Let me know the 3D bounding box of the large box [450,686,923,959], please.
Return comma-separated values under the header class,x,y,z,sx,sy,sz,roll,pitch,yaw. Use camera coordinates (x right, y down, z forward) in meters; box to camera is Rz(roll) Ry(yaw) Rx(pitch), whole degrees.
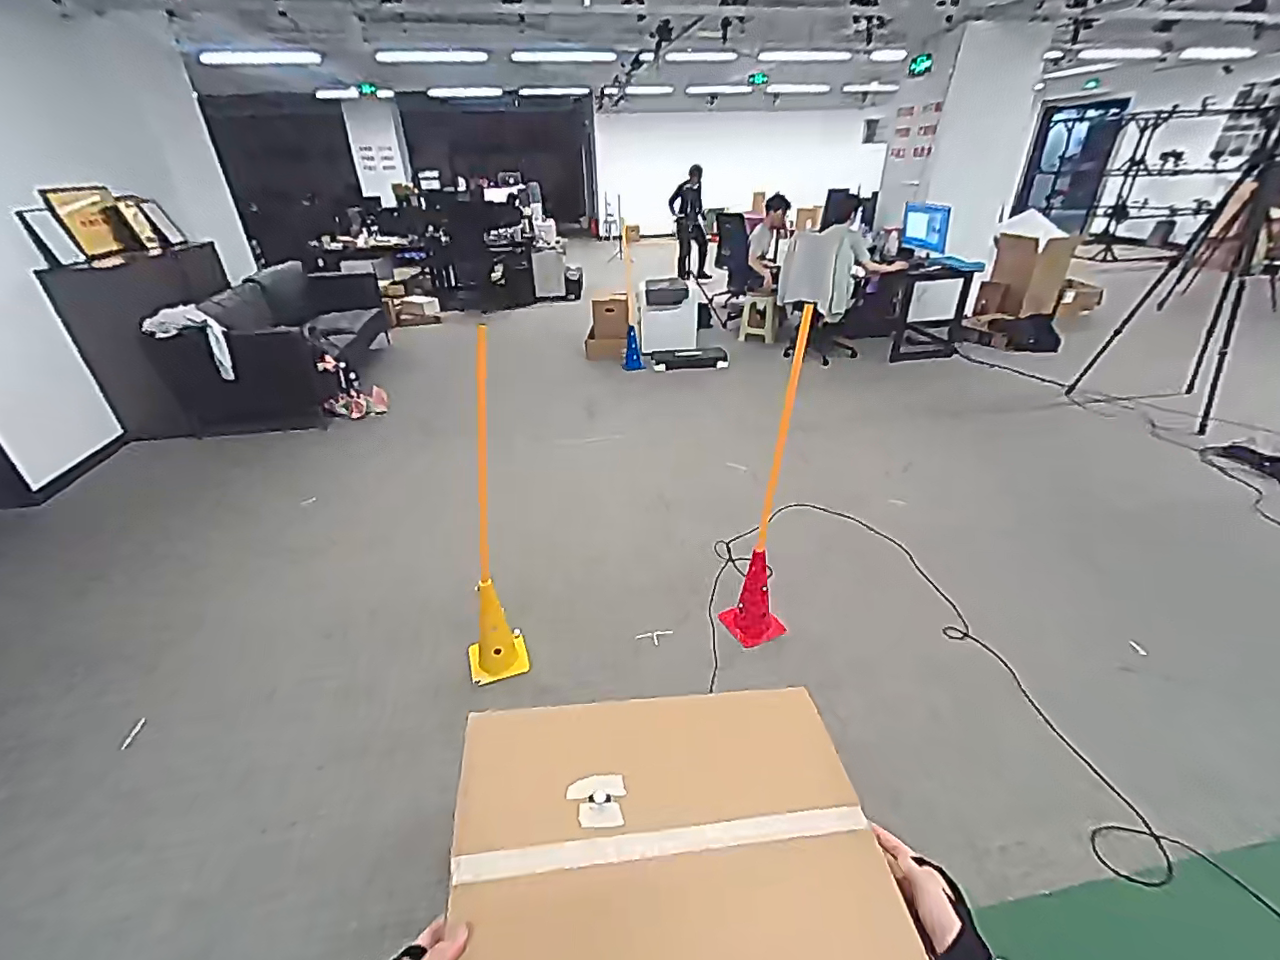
class,x,y,z,sx,sy,sz,roll,pitch,yaw
large box,0.021,0.474,0.608,0.408,0.320,0.320,-2,34,-9
